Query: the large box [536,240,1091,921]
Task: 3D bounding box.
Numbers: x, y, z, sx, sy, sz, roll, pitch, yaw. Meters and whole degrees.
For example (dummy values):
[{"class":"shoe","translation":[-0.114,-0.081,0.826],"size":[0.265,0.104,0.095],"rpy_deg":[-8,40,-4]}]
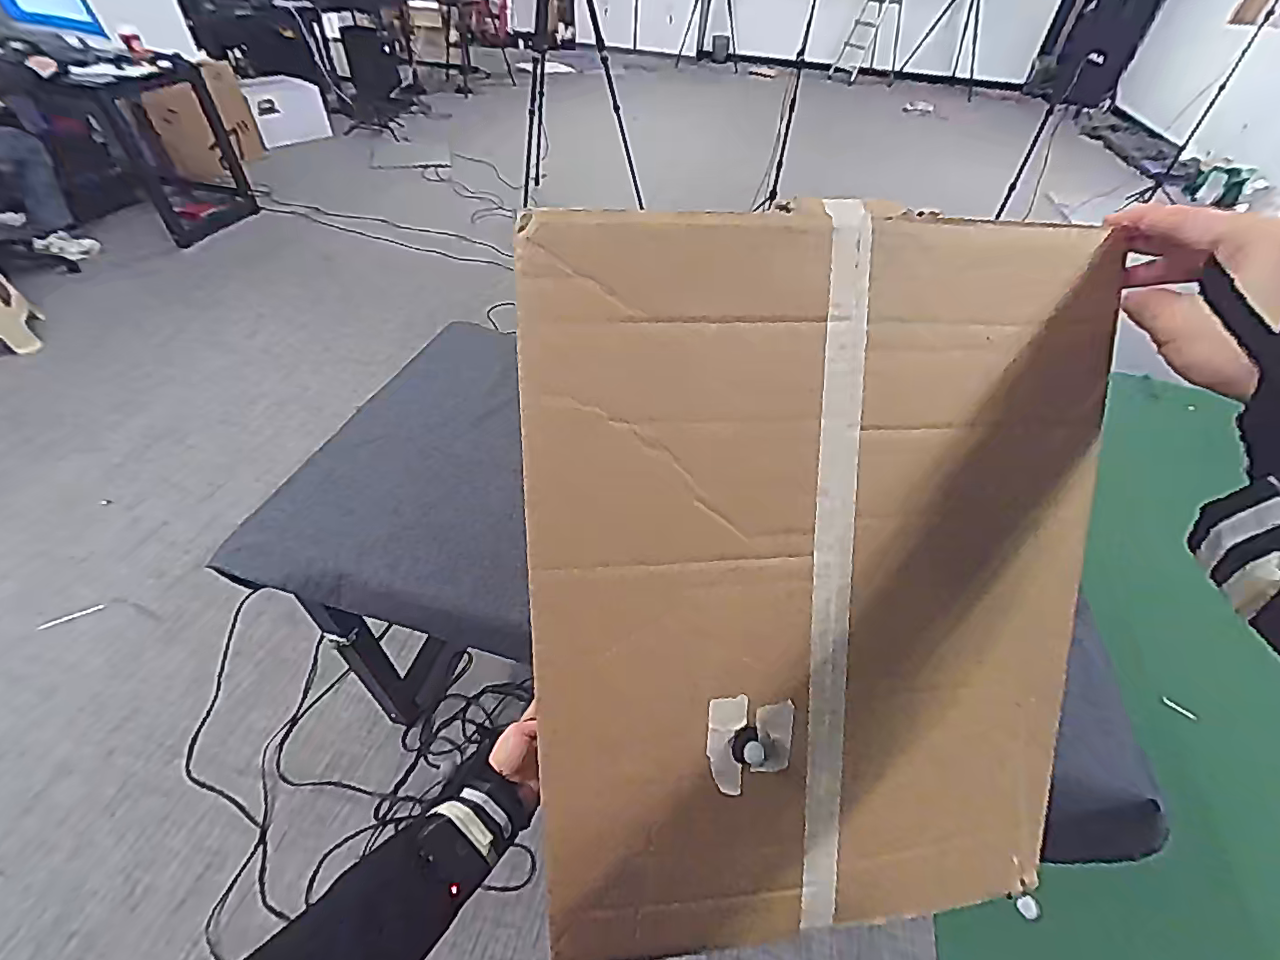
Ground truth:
[{"class":"large box","translation":[0.084,0.040,0.460],"size":[0.320,0.408,0.320],"rpy_deg":[-3,12,-8]}]
